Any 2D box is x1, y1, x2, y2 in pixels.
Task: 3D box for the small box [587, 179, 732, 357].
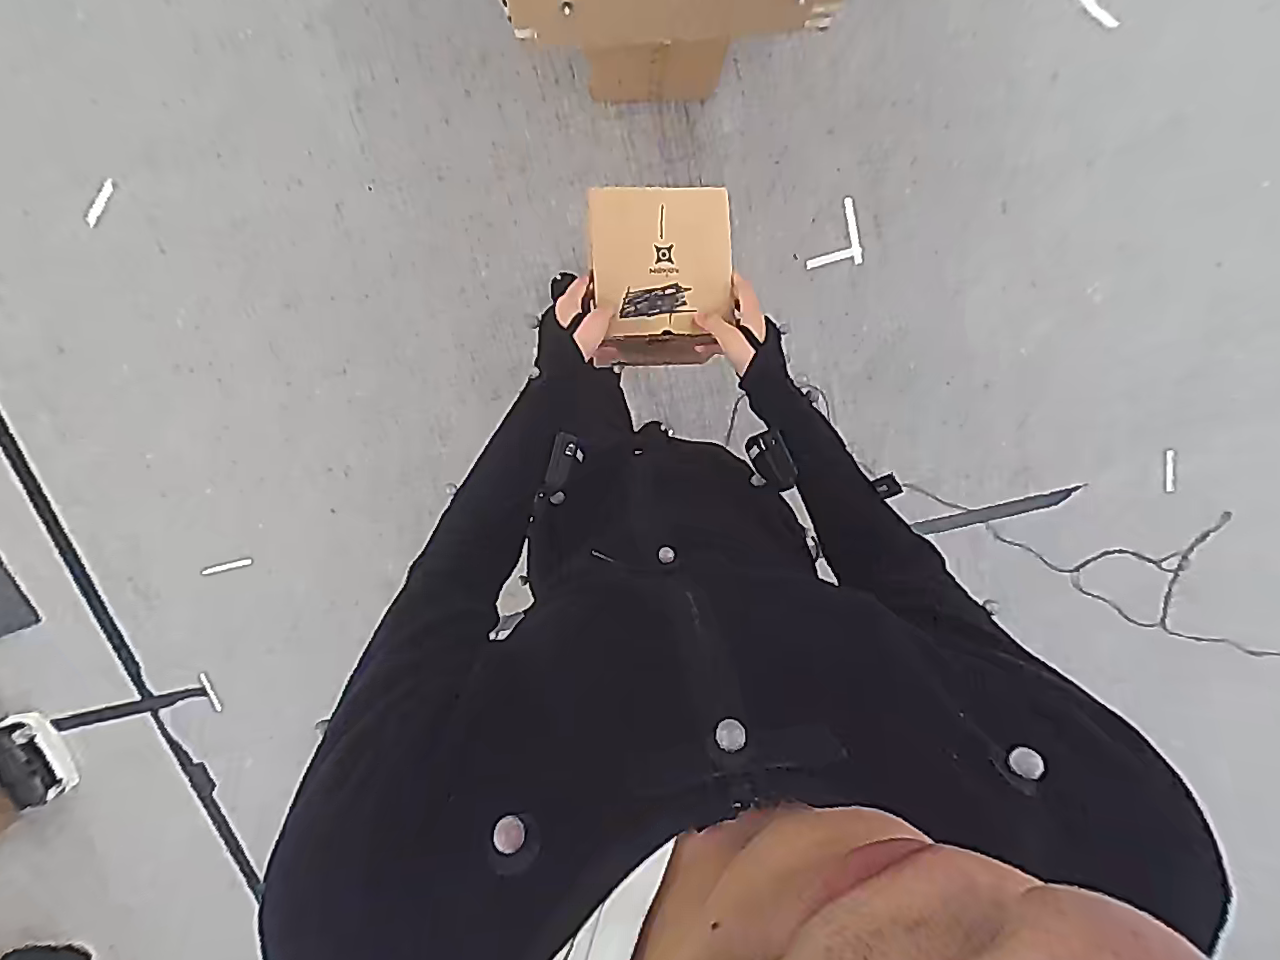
[{"bbox_3d":[0.018,-0.261,0.703,0.168,0.176,0.179,-3,90,-6],"label":"small box"}]
